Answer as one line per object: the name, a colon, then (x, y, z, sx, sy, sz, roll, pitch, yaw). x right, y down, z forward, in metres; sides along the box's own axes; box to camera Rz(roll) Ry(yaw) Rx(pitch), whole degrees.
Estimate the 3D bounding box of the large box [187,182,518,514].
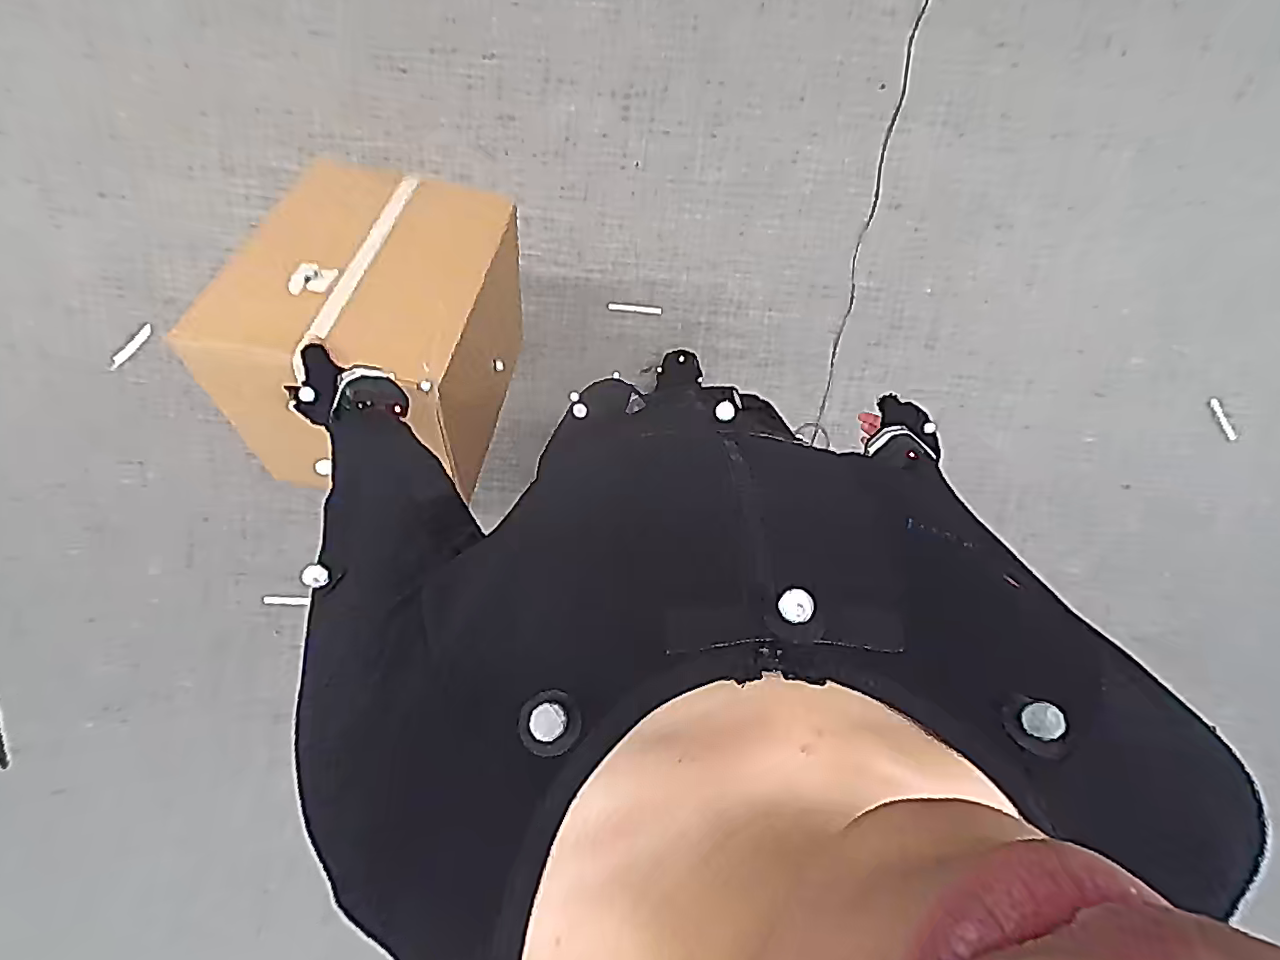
large box: (-0.398, -0.208, 0.889, 0.320, 0.320, 0.408, 10, 57, -2)
